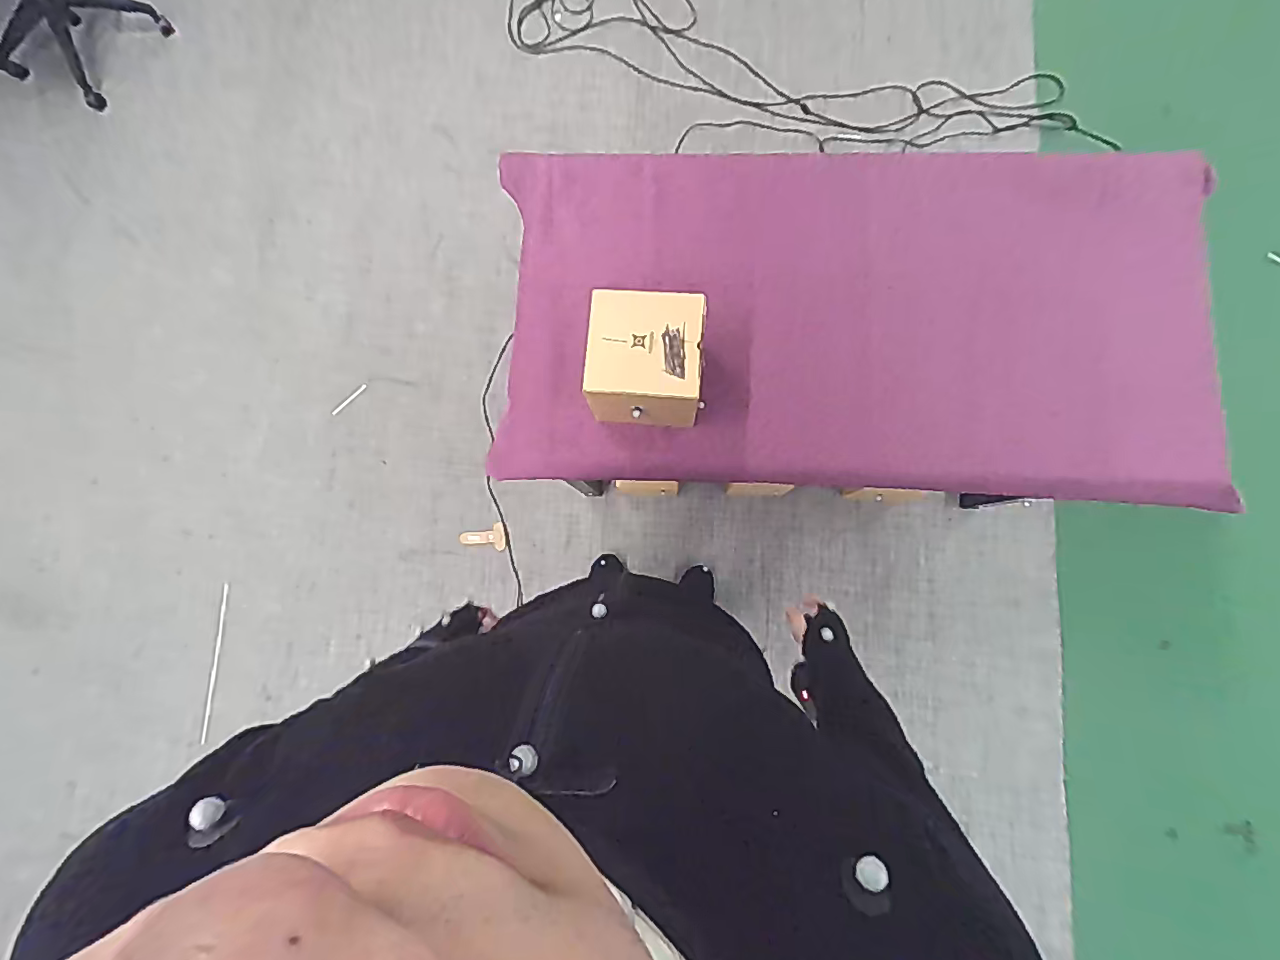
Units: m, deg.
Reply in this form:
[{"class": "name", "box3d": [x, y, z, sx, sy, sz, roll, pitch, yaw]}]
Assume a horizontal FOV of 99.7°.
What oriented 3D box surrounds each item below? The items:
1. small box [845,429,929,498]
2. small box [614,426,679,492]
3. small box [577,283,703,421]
[{"class": "small box", "box3d": [0.699, -0.042, 1.549, 0.179, 0.176, 0.168, 5, 83, 5]}, {"class": "small box", "box3d": [0.024, -0.057, 1.597, 0.179, 0.176, 0.168, 2, 82, 4]}, {"class": "small box", "box3d": [0.006, -0.199, 0.880, 0.179, 0.176, 0.168, 5, 81, 5]}]
